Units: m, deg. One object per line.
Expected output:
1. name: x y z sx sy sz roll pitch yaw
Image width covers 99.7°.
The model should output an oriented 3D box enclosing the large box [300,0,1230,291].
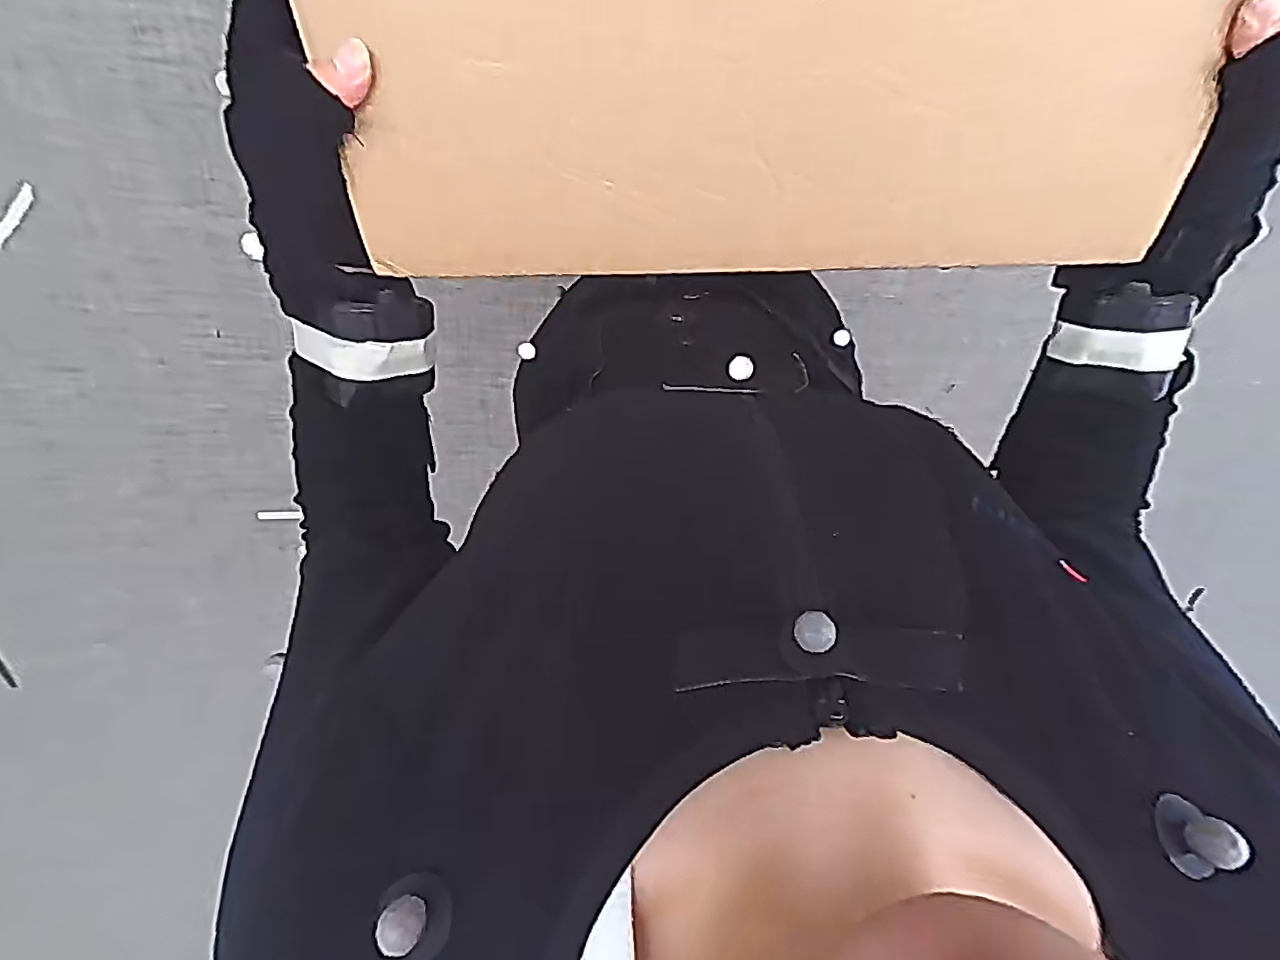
1. large box: 0.054 -0.323 0.326 0.408 0.320 0.320 -1 126 0
